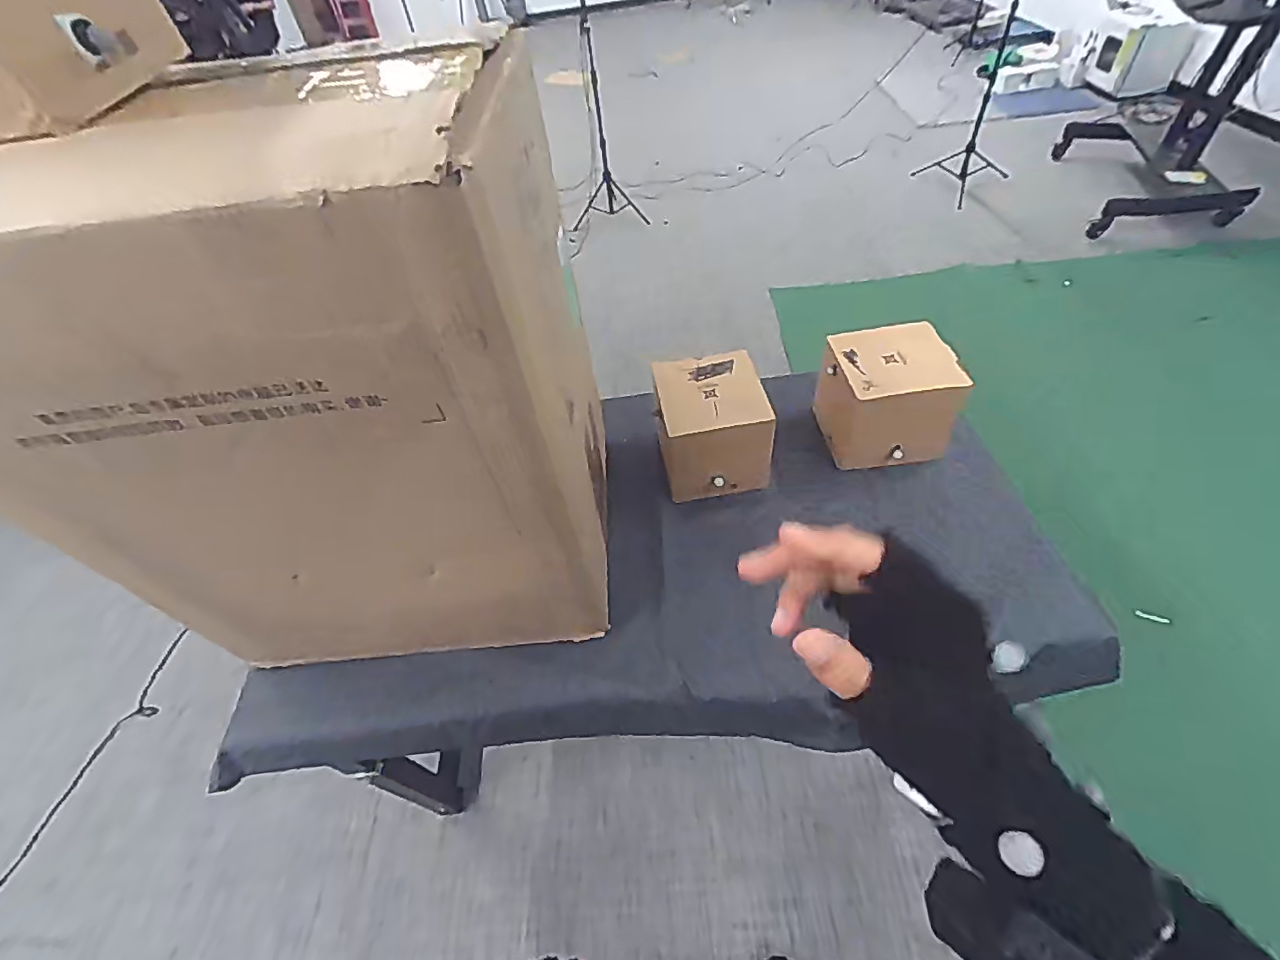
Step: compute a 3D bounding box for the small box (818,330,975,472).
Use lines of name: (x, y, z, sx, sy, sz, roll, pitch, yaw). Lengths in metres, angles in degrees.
small box: (0.424, -0.131, 0.929, 0.179, 0.176, 0.168, -7, 49, 2)

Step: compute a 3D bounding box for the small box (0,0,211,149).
small box: (-0.469, -0.352, 0.376, 0.179, 0.176, 0.168, 0, 55, 5)
